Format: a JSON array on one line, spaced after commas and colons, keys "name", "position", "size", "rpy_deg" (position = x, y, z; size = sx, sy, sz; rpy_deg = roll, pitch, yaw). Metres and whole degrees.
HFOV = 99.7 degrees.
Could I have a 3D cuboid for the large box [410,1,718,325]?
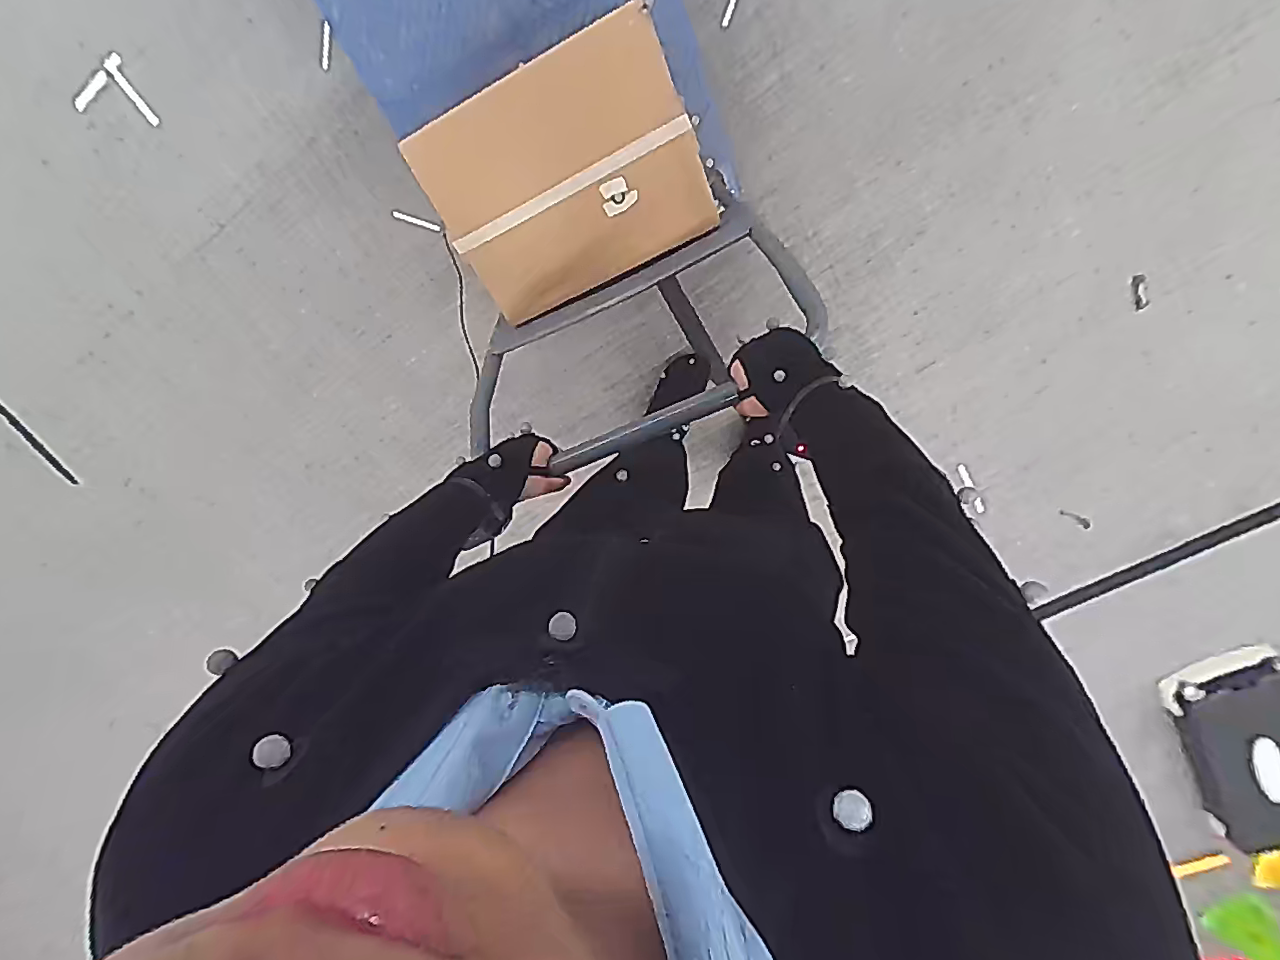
[{"name": "large box", "position": [-0.120, -0.549, 0.977], "size": [0.408, 0.320, 0.320], "rpy_deg": [-23, 125, 12]}]
